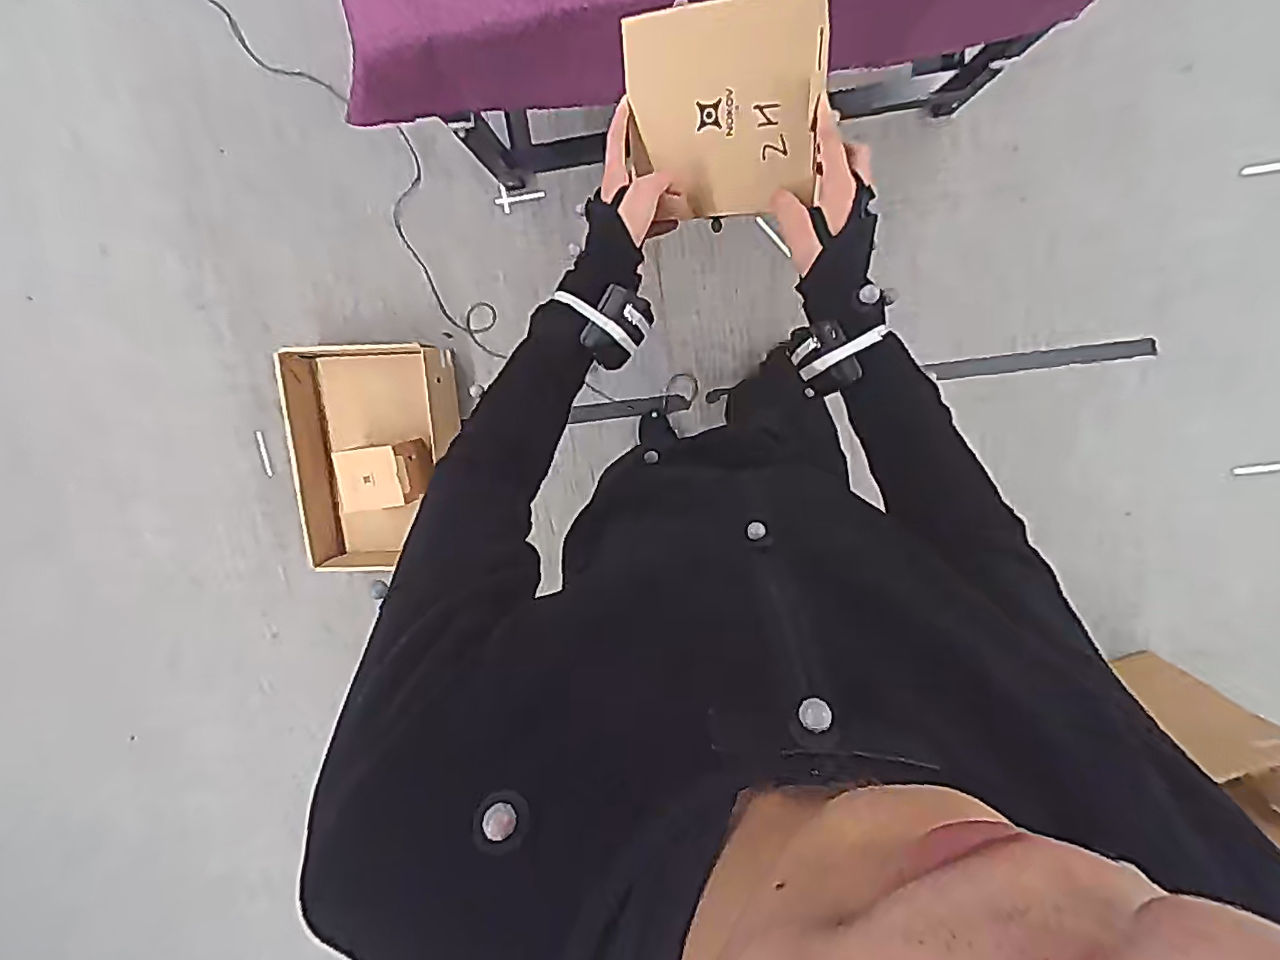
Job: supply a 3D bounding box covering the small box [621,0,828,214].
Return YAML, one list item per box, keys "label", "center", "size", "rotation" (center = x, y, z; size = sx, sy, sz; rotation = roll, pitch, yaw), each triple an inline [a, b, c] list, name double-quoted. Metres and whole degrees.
- label: "small box"
  center: [0.094, -0.368, 0.555]
  size: [0.179, 0.176, 0.168]
  rotation: [4, 117, 17]

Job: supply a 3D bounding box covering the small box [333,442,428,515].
- label: "small box"
  center: [-0.714, -0.010, 1.513]
  size: [0.179, 0.176, 0.168]
  rotation: [-6, 100, 4]
